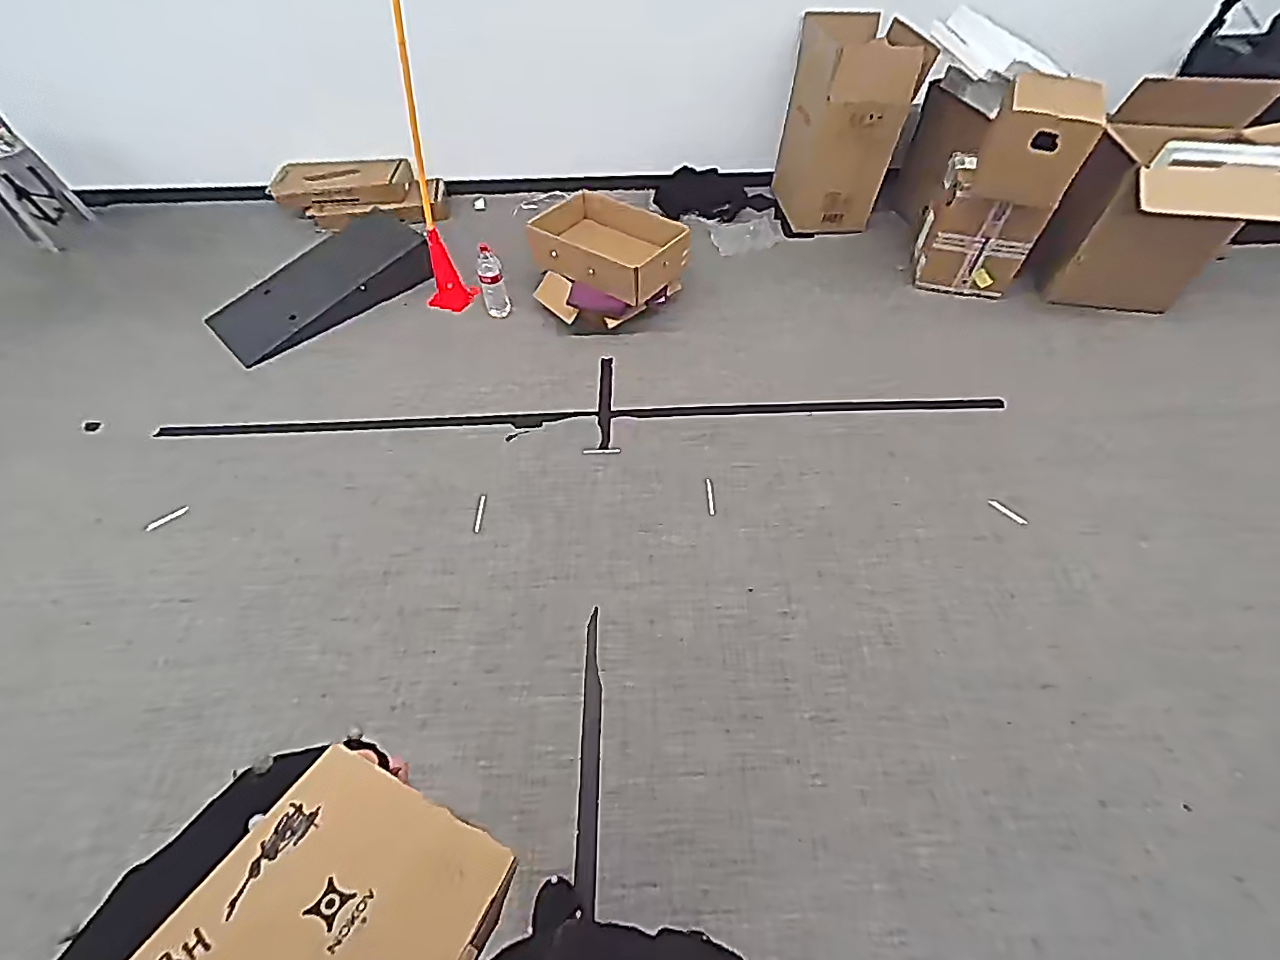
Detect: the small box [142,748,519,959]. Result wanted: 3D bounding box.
[{"bbox_3d":[-0.218,0.353,0.411,0.179,0.176,0.168,25,37,9],"label":"small box"}]
